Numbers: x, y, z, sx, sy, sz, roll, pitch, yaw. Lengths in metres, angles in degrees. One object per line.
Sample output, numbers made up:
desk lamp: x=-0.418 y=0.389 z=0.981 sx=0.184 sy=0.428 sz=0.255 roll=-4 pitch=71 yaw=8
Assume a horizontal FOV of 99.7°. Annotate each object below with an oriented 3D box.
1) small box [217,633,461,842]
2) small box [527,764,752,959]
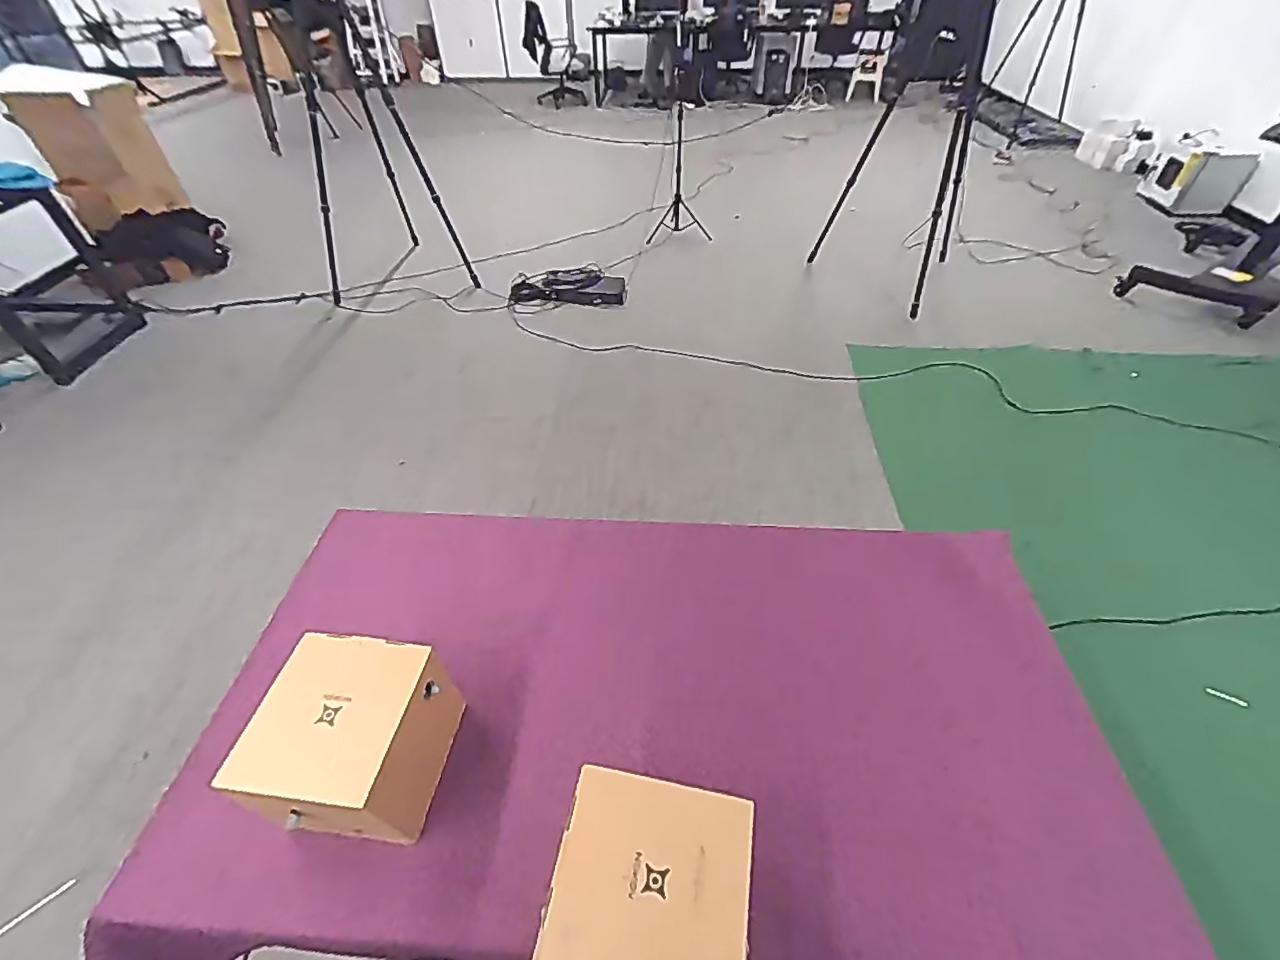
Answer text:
small box: x=-0.337 y=0.312 z=0.654 sx=0.168 sy=0.176 sz=0.179 roll=4 pitch=44 yaw=6
small box: x=0.010 y=0.413 z=0.540 sx=0.179 sy=0.176 sz=0.168 roll=8 pitch=46 yaw=10
